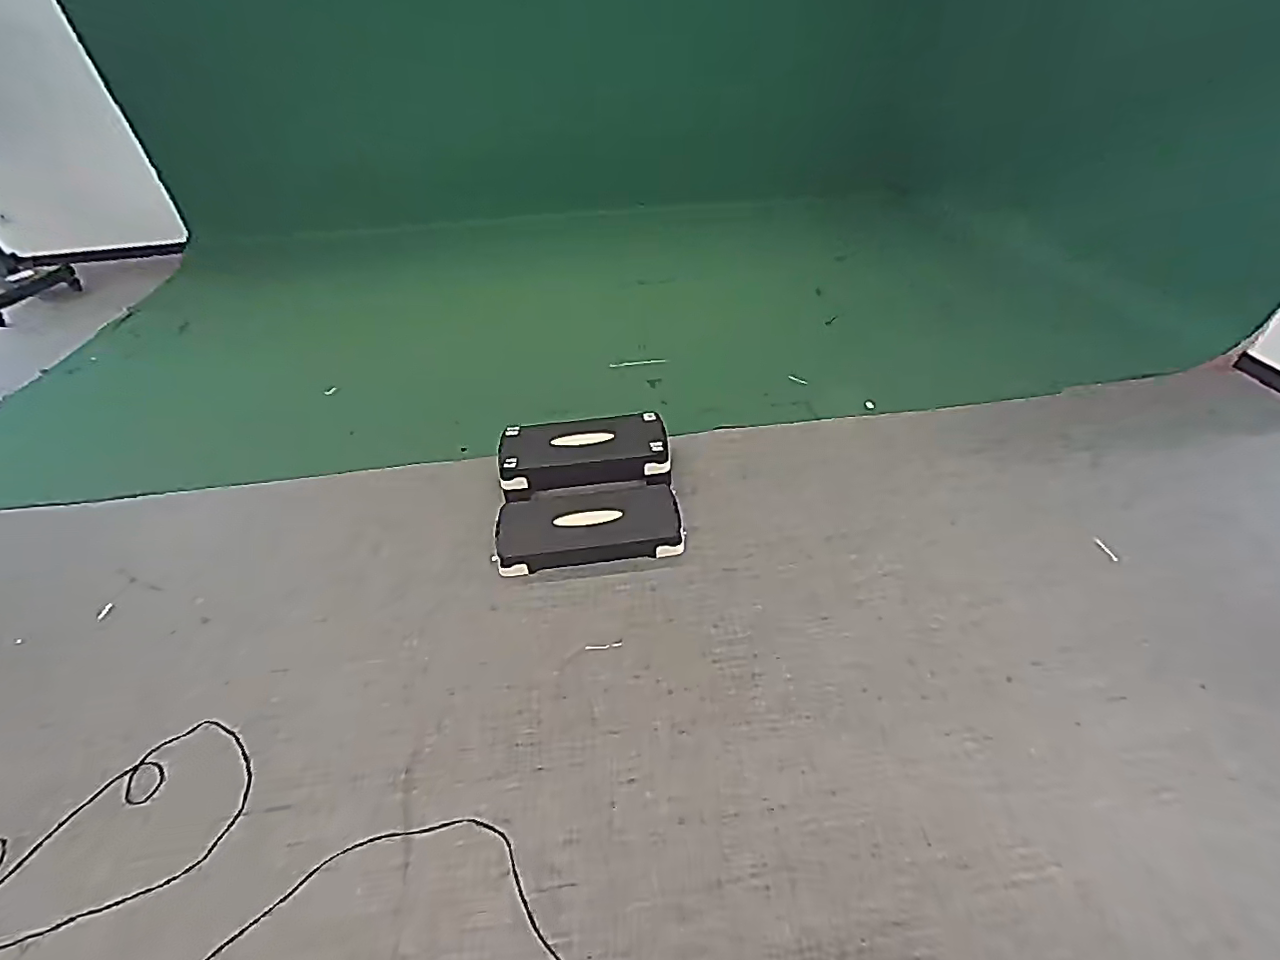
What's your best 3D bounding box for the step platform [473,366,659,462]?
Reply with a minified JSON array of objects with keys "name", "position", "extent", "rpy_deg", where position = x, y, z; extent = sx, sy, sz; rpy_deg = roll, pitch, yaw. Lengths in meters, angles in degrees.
[{"name":"step platform","position":[-0.269,-0.256,2.067],"extent":[0.684,0.204,0.286],"rpy_deg":[-7,43,-3]}]
